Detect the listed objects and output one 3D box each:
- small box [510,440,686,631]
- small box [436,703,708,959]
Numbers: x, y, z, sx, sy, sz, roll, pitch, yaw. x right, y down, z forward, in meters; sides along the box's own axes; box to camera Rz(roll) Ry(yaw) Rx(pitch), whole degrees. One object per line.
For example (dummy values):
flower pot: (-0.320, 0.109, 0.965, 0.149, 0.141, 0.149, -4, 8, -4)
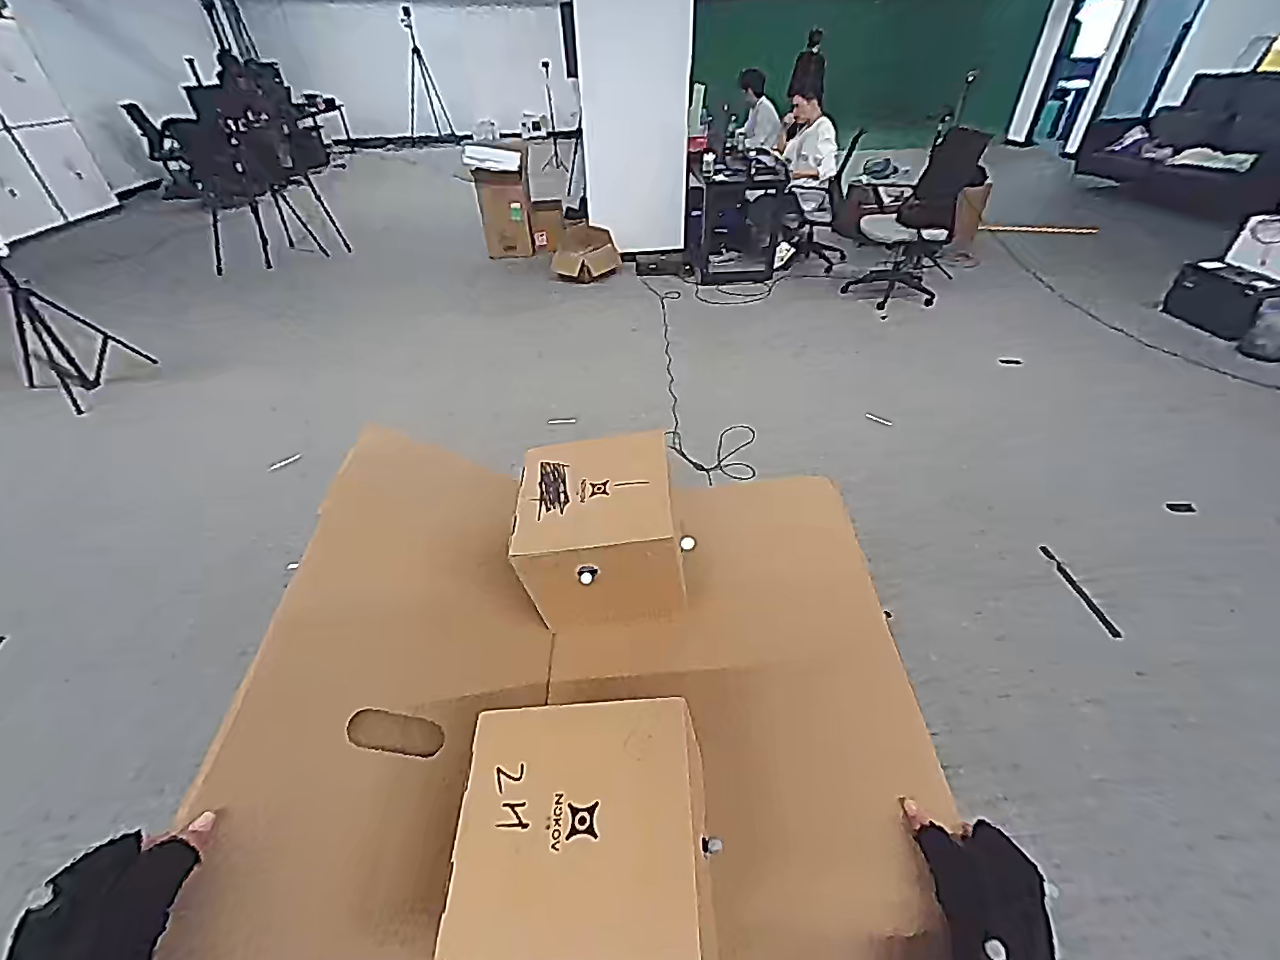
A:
small box: (-0.042, 0.074, 0.677, 0.179, 0.176, 0.168, -7, 46, 5)
small box: (-0.036, 0.304, 0.457, 0.179, 0.176, 0.168, -7, 46, 7)
